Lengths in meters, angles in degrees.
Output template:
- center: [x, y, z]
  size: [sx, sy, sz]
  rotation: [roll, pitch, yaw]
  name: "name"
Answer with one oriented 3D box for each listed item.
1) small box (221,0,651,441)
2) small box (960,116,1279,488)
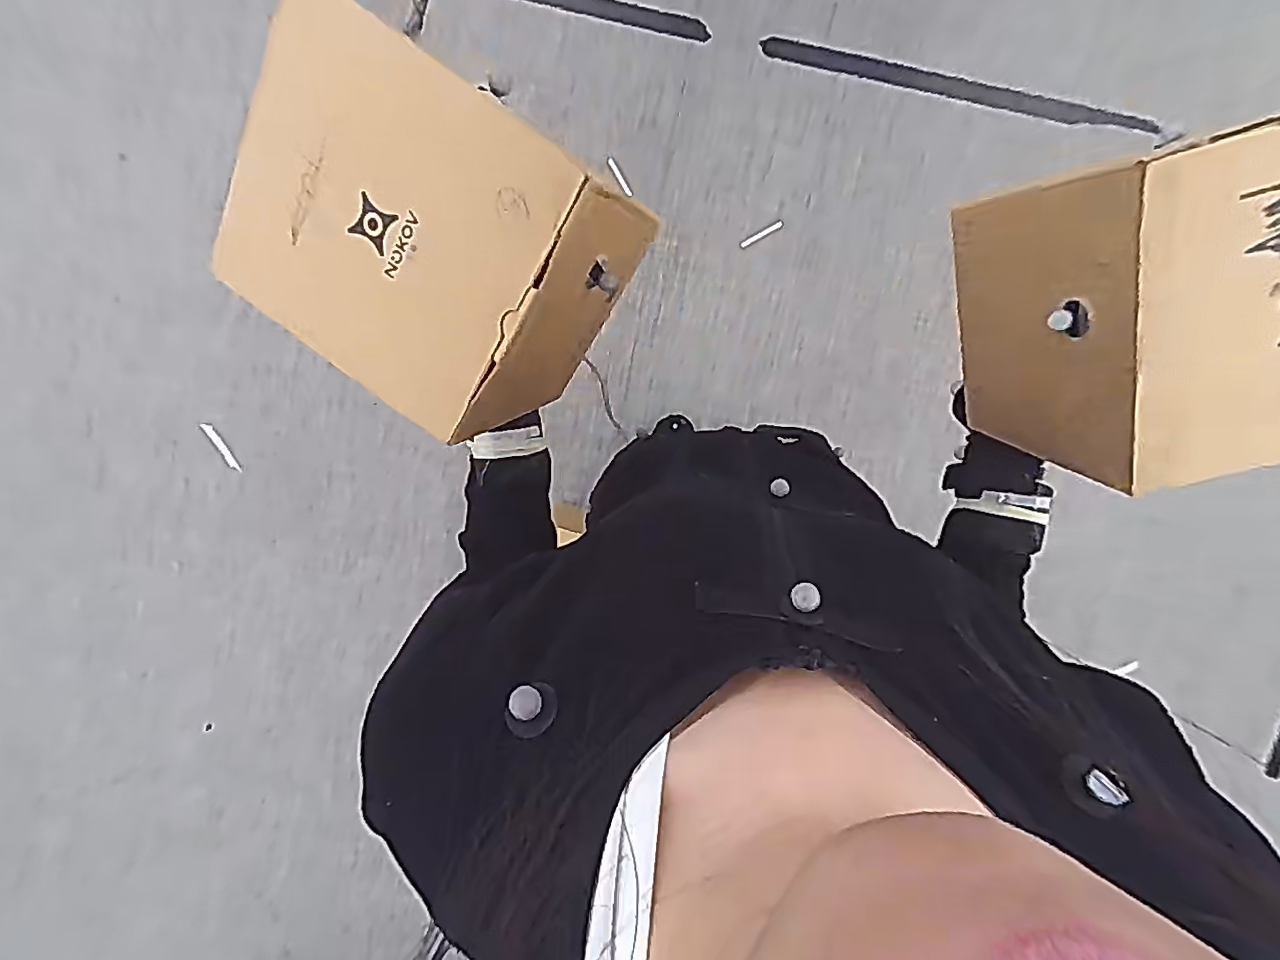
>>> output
- center: [-0.114, -0.156, 0.358]
  size: [0.179, 0.176, 0.168]
  rotation: [35, 112, 1]
  name: "small box"
- center: [0.334, -0.118, 0.349]
  size: [0.168, 0.176, 0.179]
  rotation: [-14, 109, 6]
  name: "small box"
